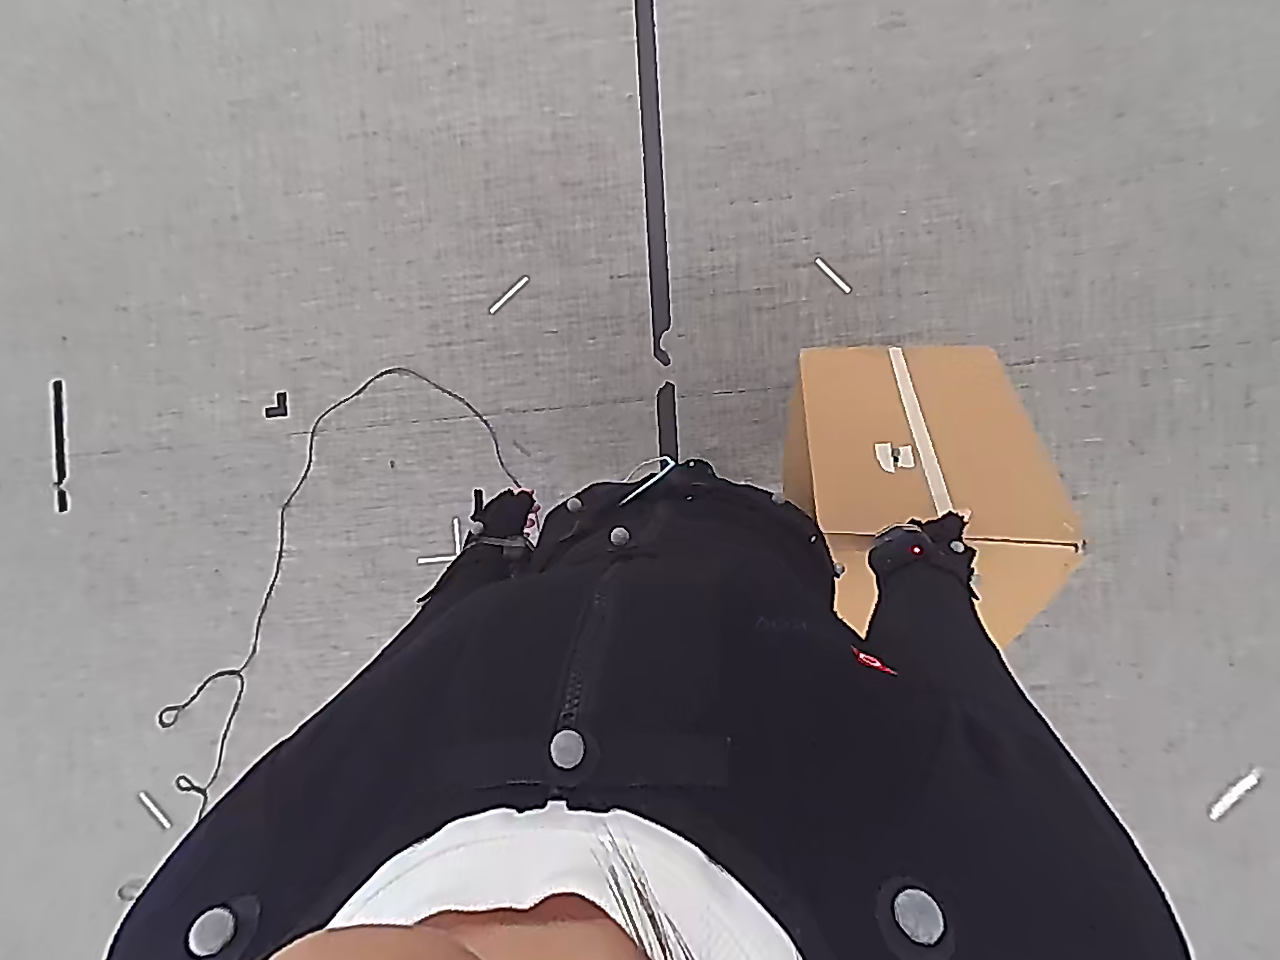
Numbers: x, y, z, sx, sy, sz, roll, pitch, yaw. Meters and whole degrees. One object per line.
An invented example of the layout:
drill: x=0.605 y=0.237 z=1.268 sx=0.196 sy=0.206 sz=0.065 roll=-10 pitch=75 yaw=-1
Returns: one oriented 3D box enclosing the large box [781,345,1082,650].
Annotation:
large box: x=0.413 y=0.022 z=0.898 sx=0.320 sy=0.320 sz=0.408 roll=1 pitch=50 yaw=11
